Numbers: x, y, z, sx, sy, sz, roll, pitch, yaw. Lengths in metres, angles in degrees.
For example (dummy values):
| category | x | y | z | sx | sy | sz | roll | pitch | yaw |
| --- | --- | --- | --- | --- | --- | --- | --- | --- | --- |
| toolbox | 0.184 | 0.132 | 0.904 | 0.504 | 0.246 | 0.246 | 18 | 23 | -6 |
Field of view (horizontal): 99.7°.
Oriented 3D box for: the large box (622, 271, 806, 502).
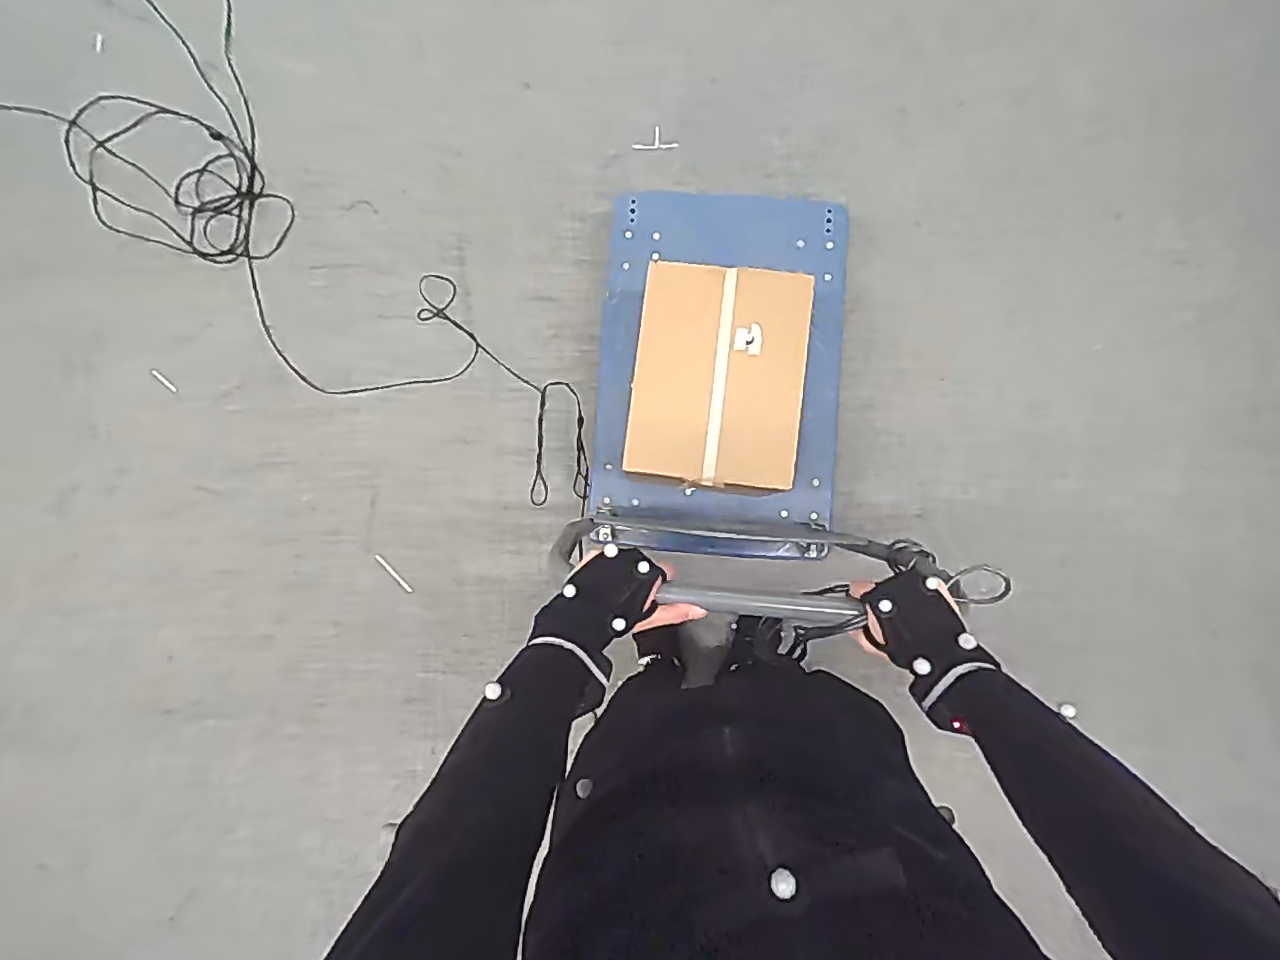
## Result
| category | x | y | z | sx | sy | sz | roll | pitch | yaw |
| --- | --- | --- | --- | --- | --- | --- | --- | --- | --- |
| large box | 0.147 | -0.172 | 1.152 | 0.320 | 0.320 | 0.408 | 7 | 85 | 3 |
